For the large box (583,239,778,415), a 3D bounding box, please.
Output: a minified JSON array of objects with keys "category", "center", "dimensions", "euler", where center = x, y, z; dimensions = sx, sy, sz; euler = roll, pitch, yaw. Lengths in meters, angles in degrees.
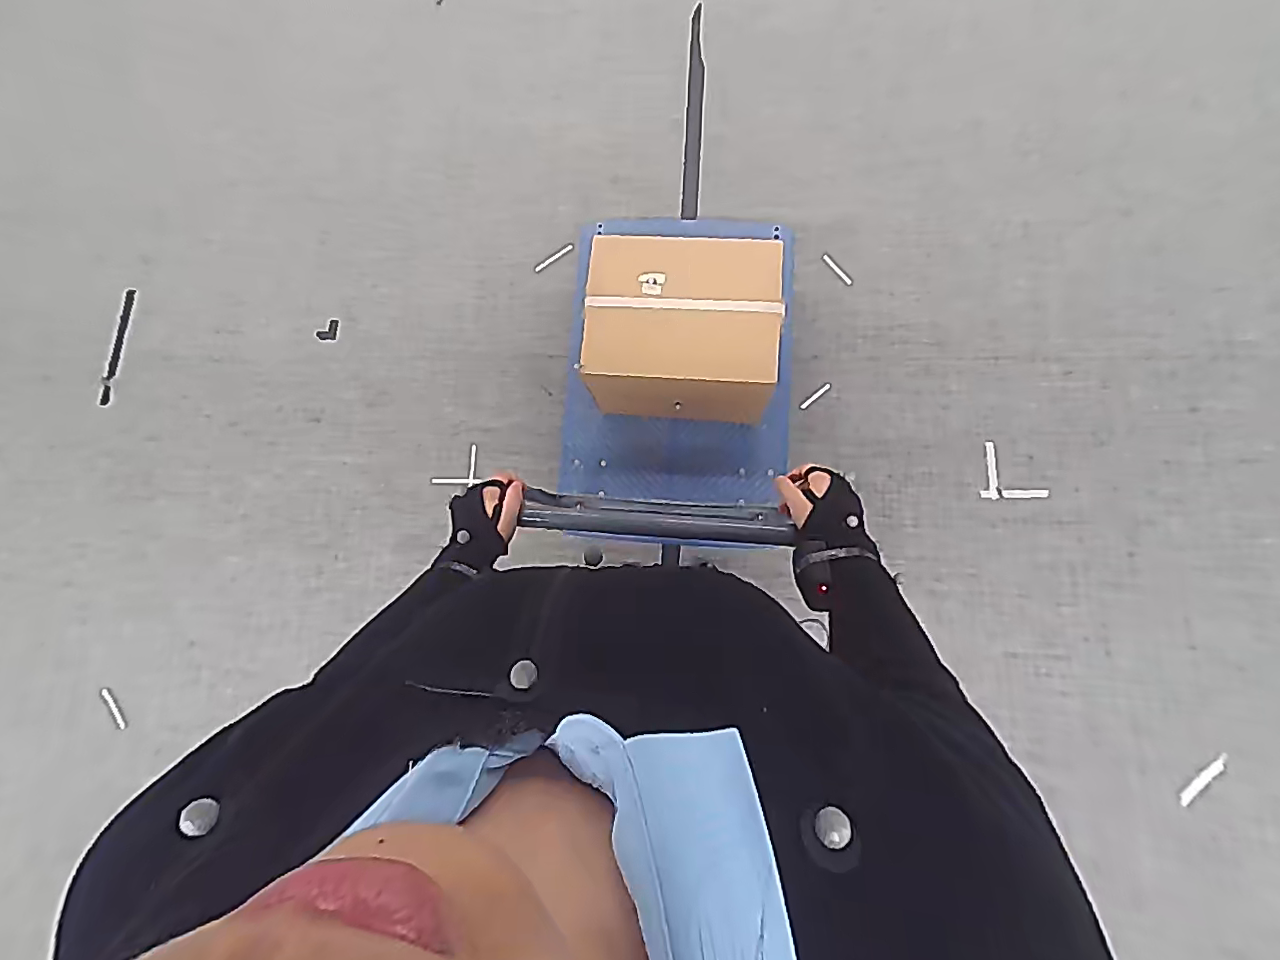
[{"category":"large box","center":[0.102,-0.344,1.285],"dimensions":[0.408,0.320,0.320],"euler":[4,81,6]}]
